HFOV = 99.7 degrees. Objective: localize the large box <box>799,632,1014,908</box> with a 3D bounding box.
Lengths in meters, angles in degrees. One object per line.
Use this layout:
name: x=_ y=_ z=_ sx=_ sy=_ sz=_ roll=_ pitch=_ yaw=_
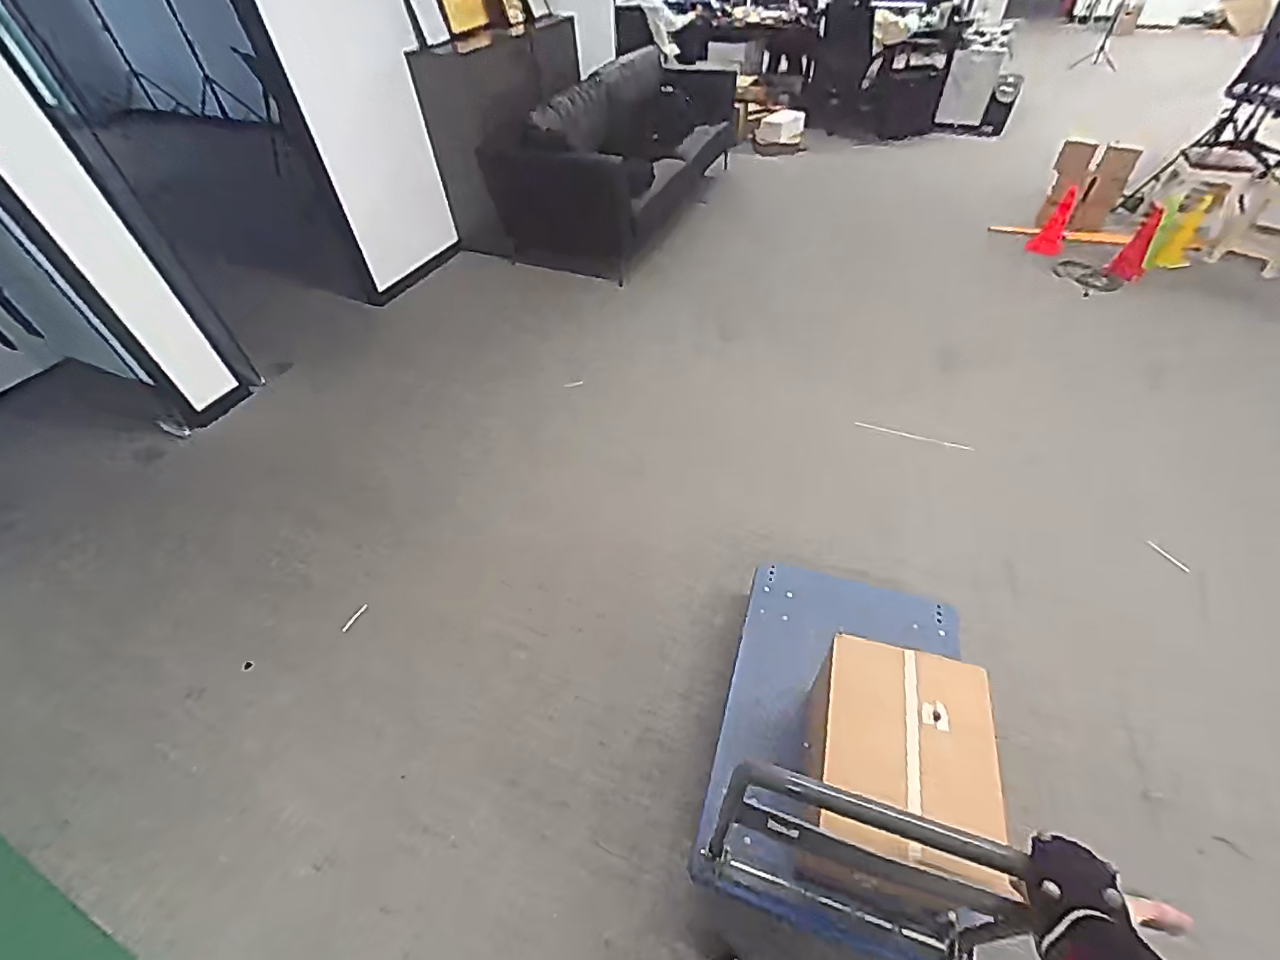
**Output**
large box: x=0.535 y=0.612 z=1.162 sx=0.320 sy=0.320 sz=0.408 roll=12 pitch=47 yaw=13
